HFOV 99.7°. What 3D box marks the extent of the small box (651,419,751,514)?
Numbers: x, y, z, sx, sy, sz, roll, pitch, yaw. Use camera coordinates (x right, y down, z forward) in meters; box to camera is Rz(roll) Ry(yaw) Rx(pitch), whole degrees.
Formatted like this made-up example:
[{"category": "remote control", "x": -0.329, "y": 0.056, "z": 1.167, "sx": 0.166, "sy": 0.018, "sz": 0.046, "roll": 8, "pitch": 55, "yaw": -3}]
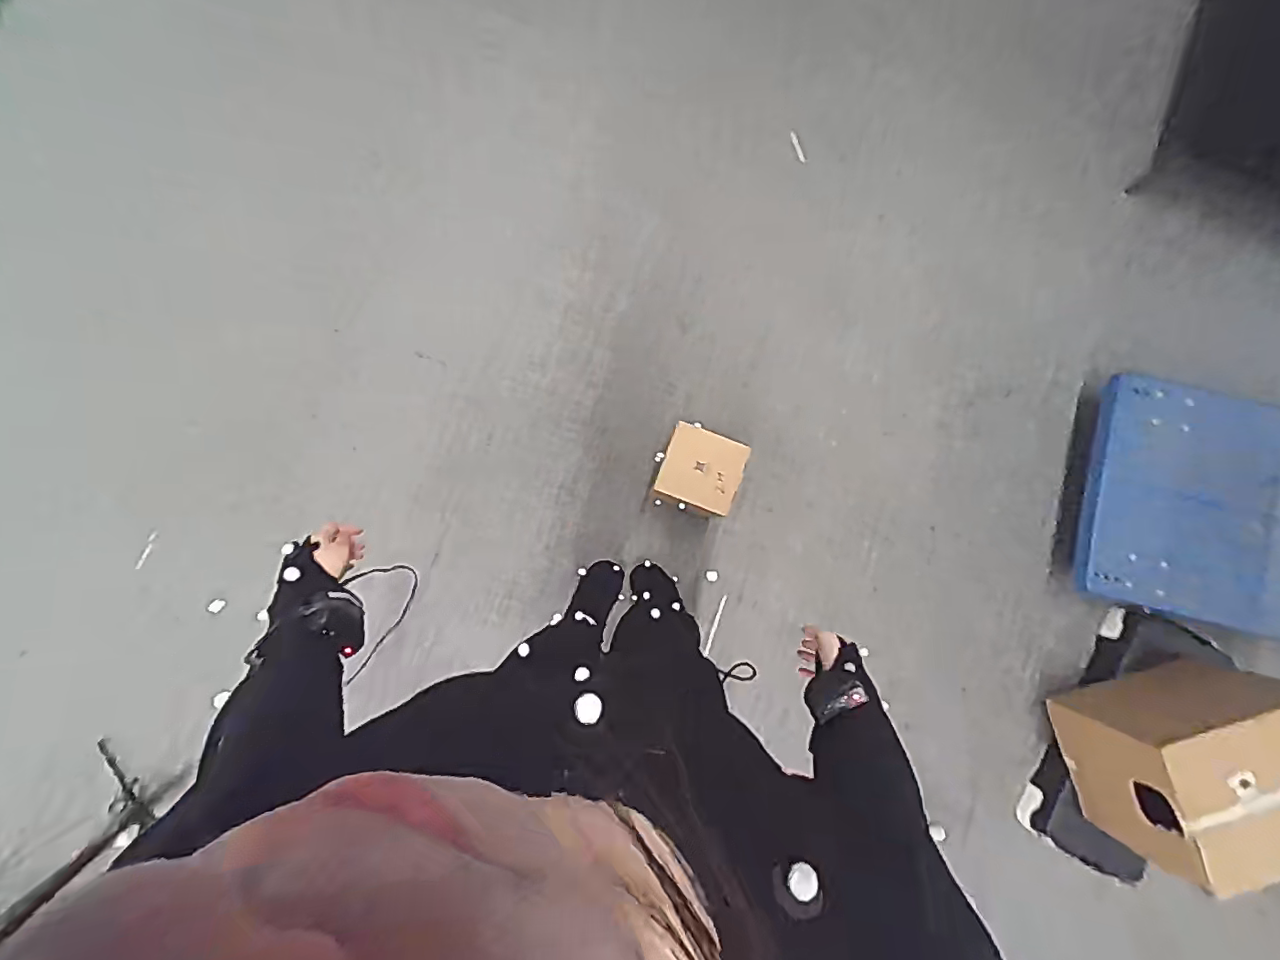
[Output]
[{"category": "small box", "x": 0.133, "y": -0.023, "z": 1.265, "sx": 0.179, "sy": 0.176, "sz": 0.168, "roll": 22, "pitch": 86, "yaw": -1}]
